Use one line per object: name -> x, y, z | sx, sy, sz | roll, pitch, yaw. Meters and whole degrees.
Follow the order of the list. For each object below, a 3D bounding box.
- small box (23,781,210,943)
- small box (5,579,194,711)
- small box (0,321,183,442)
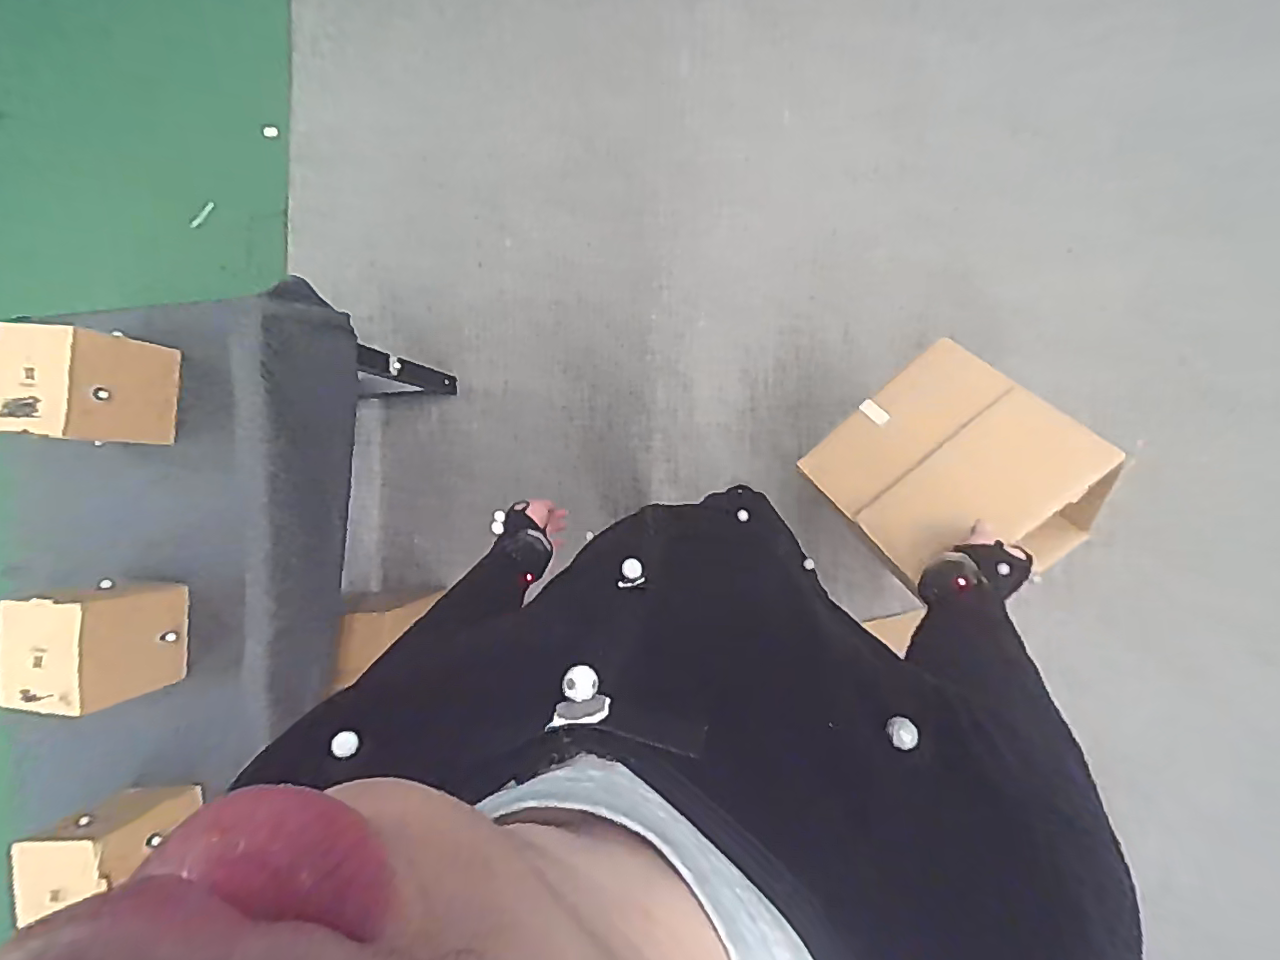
small box -> -0.877, 0.638, 0.923 | 0.179, 0.176, 0.168 | -10, 87, 13
small box -> -0.915, 0.270, 0.930 | 0.168, 0.176, 0.179 | 1, 90, 11
small box -> -0.937, -0.161, 0.931 | 0.168, 0.176, 0.179 | 6, 91, 11
